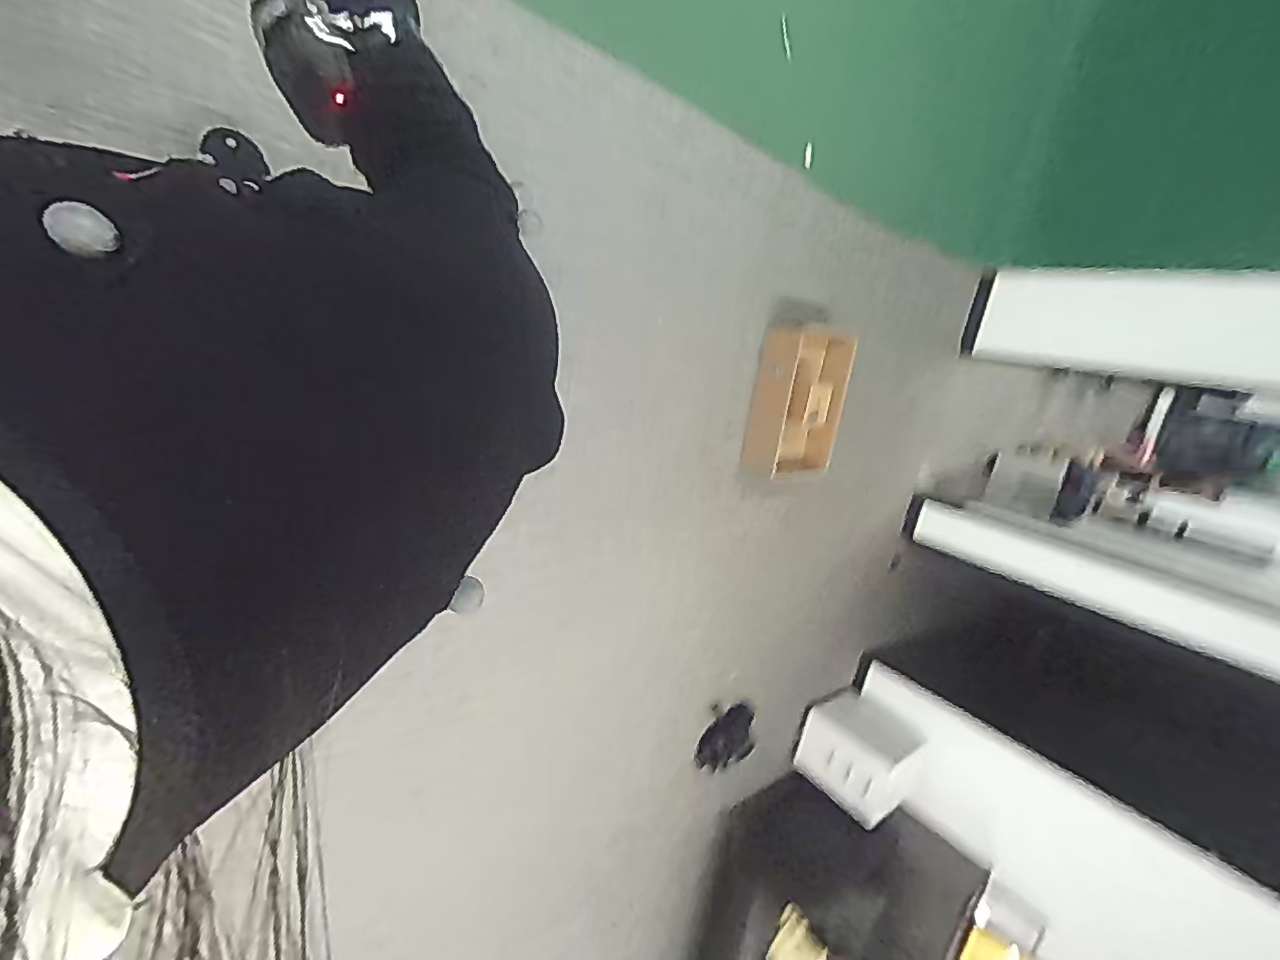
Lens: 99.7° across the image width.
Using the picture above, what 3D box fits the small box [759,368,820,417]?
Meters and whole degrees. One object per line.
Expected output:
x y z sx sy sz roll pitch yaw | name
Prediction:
0.622 -0.368 2.272 0.168 0.176 0.179 -5 109 -42 | small box
